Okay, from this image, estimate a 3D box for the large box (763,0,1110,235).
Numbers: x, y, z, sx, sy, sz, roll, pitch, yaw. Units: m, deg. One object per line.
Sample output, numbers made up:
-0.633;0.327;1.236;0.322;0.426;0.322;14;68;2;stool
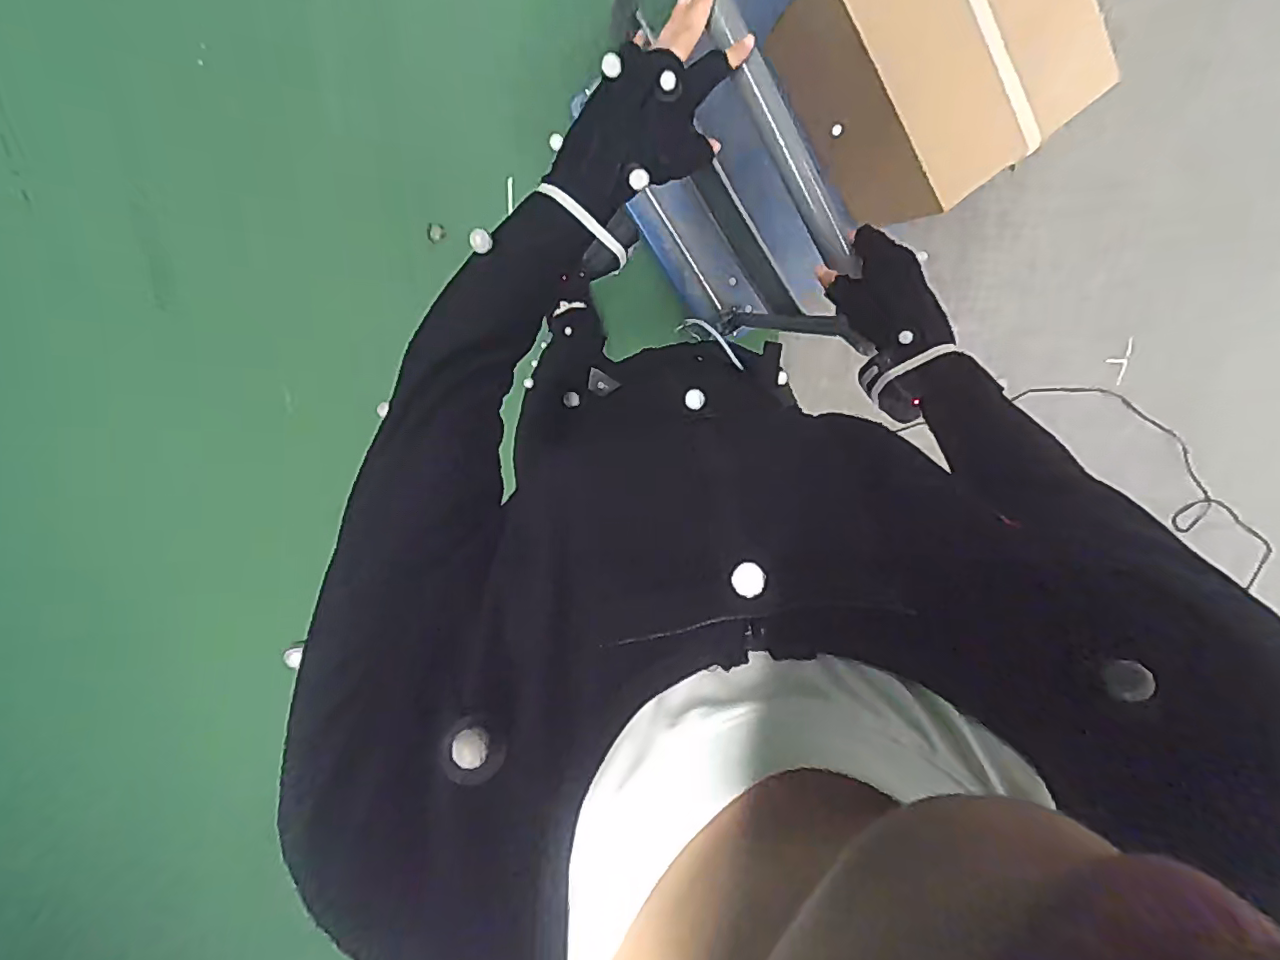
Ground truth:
0.478;-0.708;0.938;0.320;0.320;0.408;-36;107;8;large box
